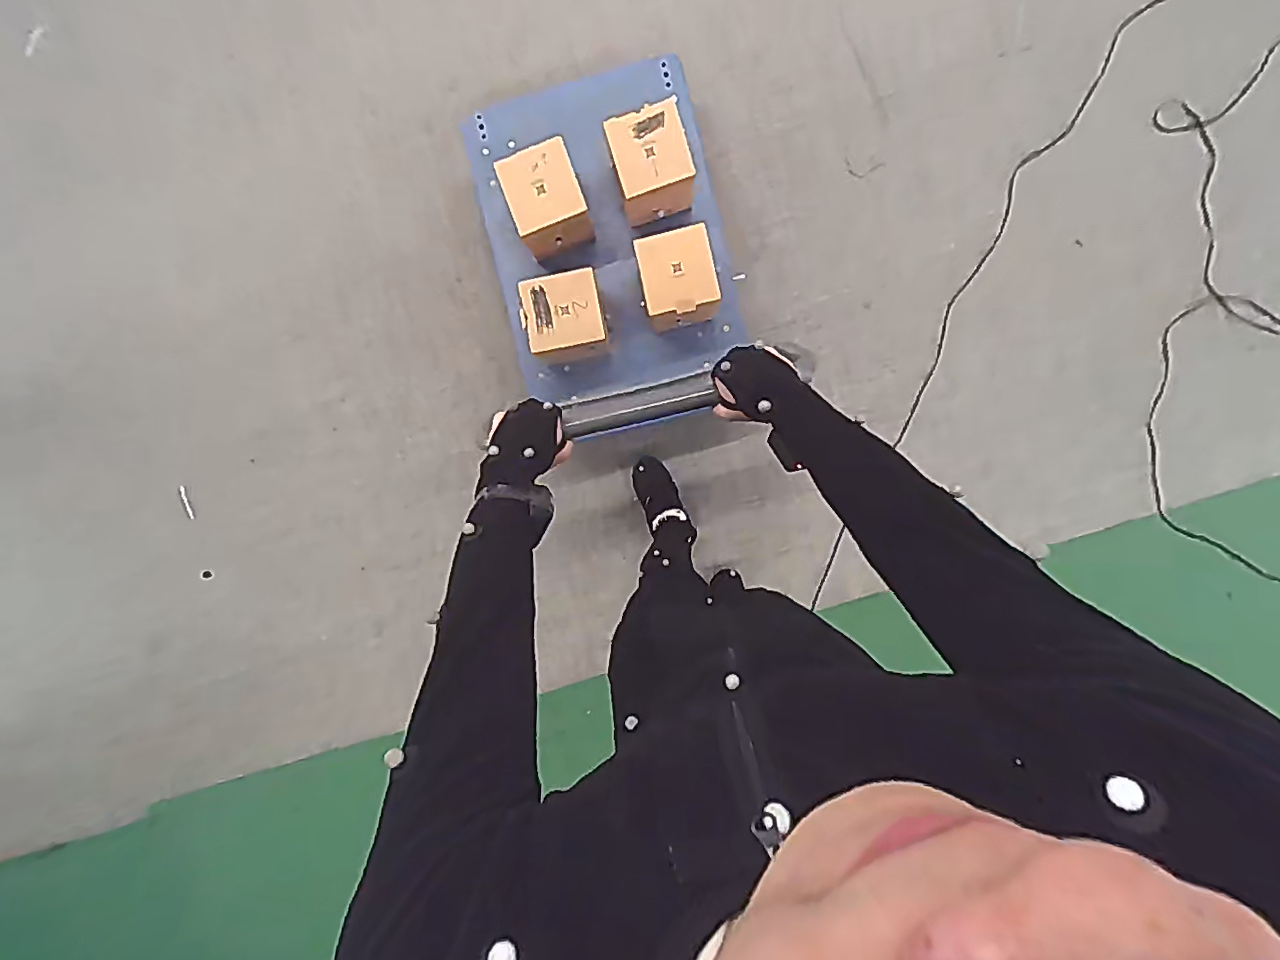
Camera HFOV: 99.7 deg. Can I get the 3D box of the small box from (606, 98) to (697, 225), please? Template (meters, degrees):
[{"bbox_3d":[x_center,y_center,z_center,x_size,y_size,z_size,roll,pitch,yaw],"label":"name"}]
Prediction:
[{"bbox_3d":[0.028,-0.737,1.268,0.168,0.176,0.179,-17,94,4],"label":"small box"}]

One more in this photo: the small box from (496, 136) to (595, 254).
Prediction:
[{"bbox_3d":[-0.215,-0.661,1.283,0.168,0.176,0.179,-20,92,3],"label":"small box"}]

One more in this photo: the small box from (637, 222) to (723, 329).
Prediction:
[{"bbox_3d":[0.090,-0.476,1.283,0.168,0.176,0.179,-13,94,3],"label":"small box"}]
